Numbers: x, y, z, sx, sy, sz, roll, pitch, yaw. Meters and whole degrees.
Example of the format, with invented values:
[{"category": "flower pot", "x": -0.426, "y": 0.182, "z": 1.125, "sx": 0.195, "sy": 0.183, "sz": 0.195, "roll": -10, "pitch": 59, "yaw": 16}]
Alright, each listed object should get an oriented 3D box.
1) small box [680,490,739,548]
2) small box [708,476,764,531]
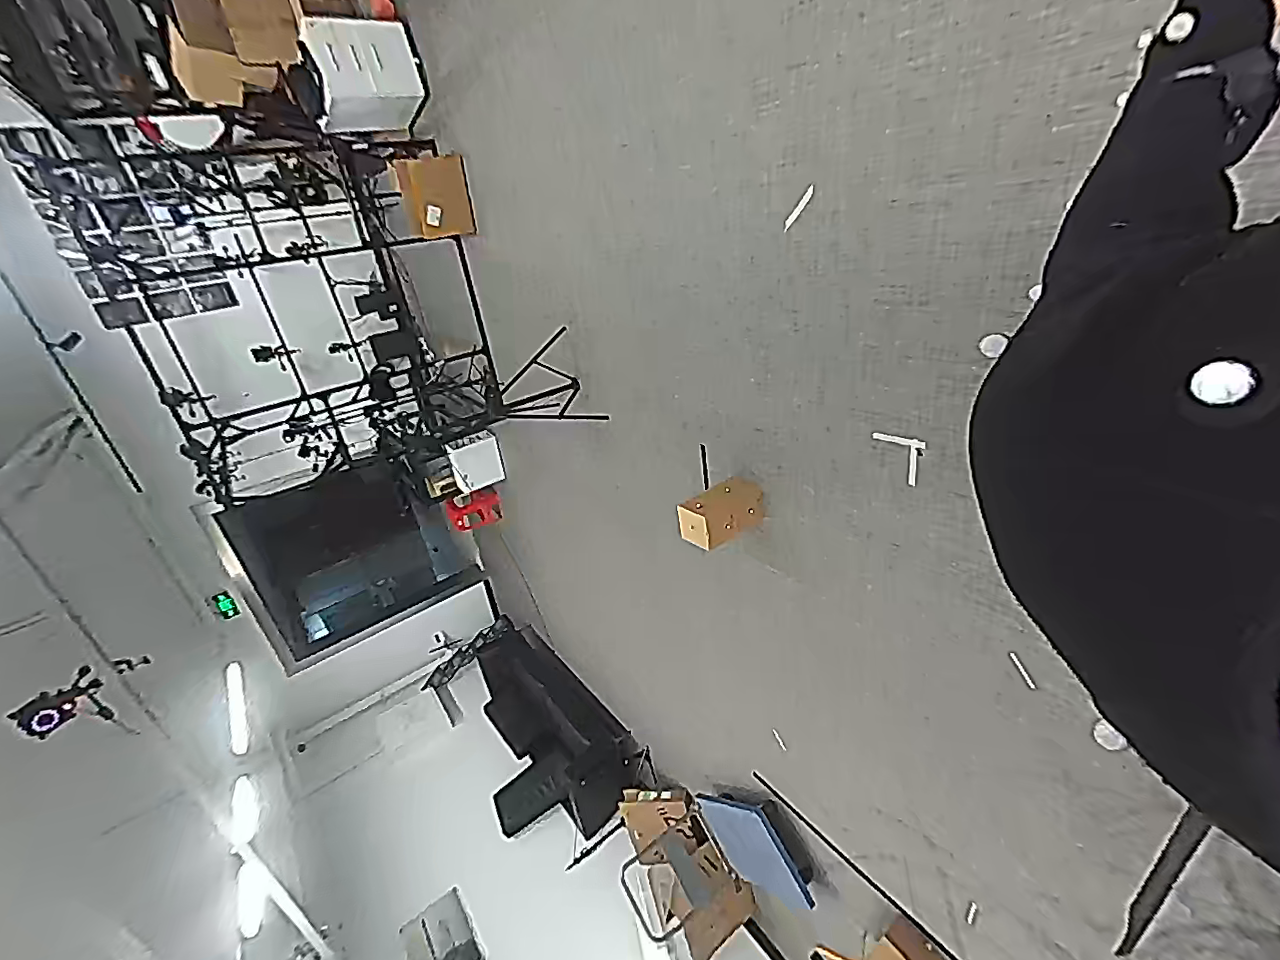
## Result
[{"category": "small box", "x": 0.292, "y": 0.157, "z": 2.271, "sx": 0.179, "sy": 0.176, "sz": 0.168, "roll": 22, "pitch": 130, "yaw": 50}, {"category": "small box", "x": 0.422, "y": 0.096, "z": 2.349, "sx": 0.179, "sy": 0.176, "sz": 0.168, "roll": 22, "pitch": 130, "yaw": 52}]
